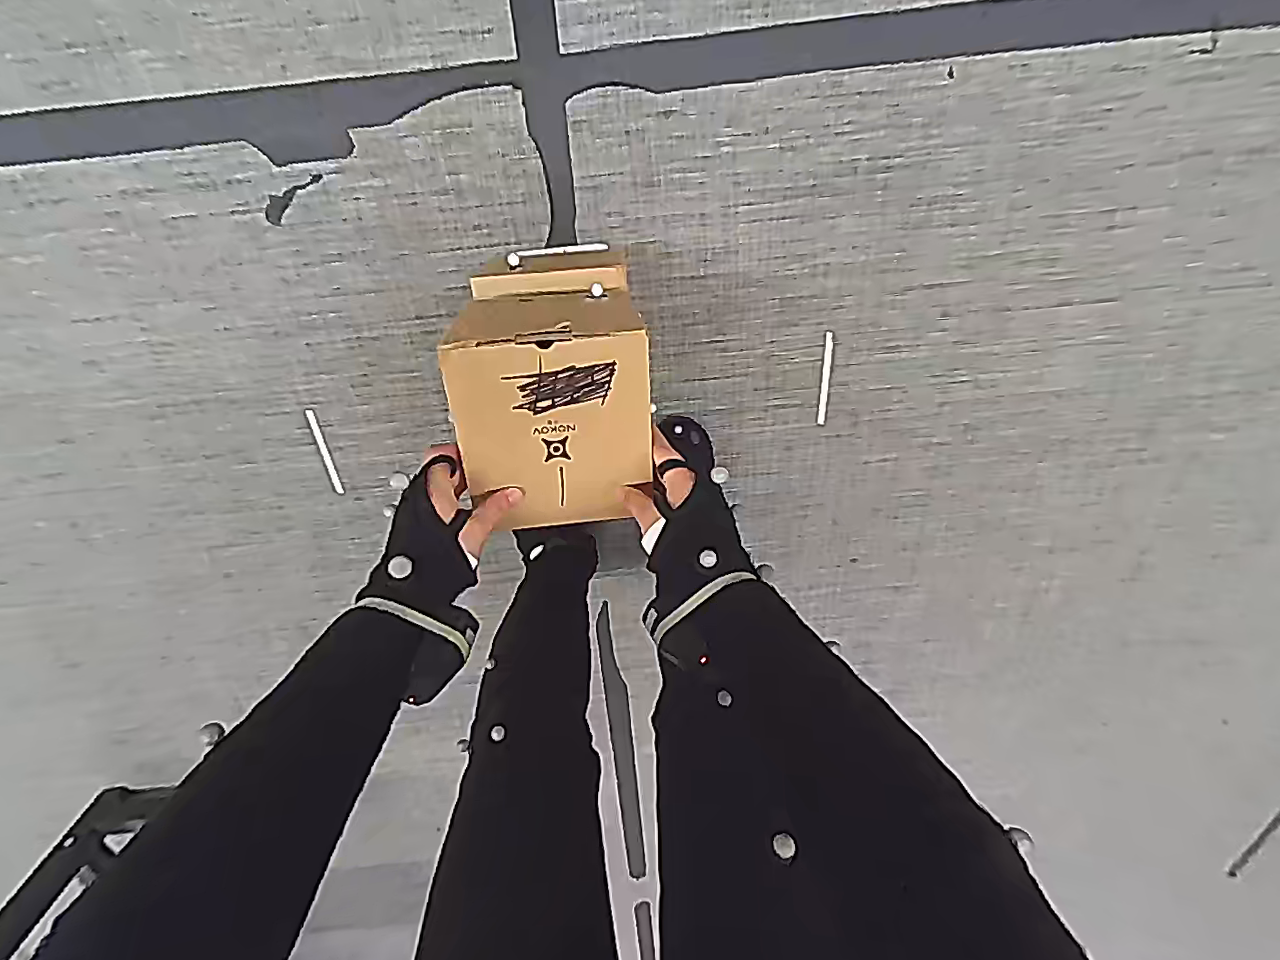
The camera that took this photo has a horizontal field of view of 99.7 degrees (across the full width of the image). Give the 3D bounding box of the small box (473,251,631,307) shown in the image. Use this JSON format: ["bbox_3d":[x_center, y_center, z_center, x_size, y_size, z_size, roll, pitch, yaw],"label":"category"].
[{"bbox_3d":[-0.099,-0.199,0.708,0.179,0.176,0.168,-4,120,-1],"label":"small box"}]

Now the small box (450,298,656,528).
[{"bbox_3d":[-0.077,-0.077,0.534,0.168,0.176,0.179,-5,121,-5],"label":"small box"}]
